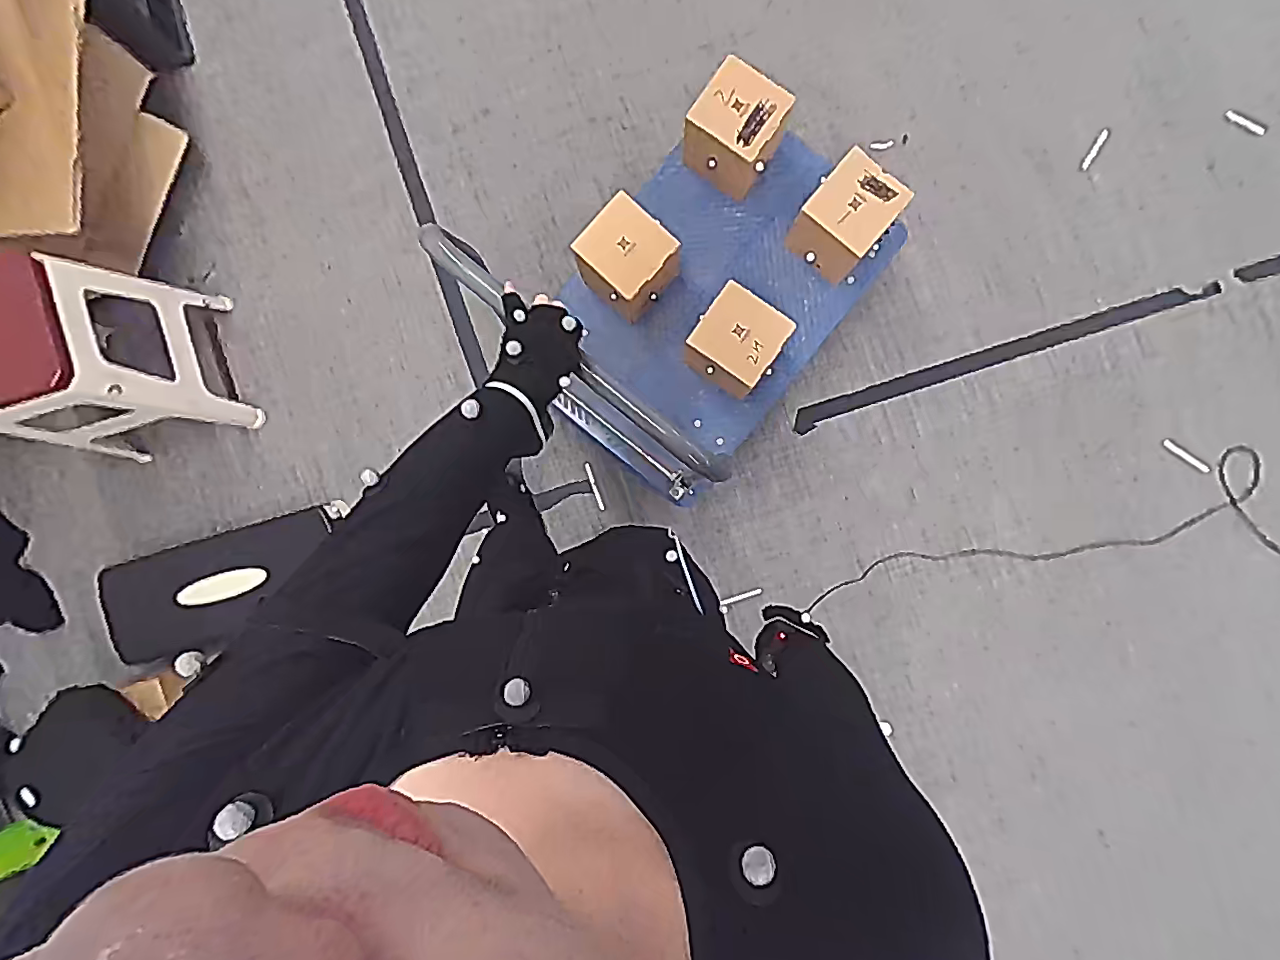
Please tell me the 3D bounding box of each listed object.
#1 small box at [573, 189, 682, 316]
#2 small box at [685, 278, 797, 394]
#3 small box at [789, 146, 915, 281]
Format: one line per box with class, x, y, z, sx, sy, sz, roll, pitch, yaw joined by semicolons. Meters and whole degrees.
small box;-0.028;-0.502;1.224;0.179;0.176;0.168;42;91;0
small box;0.216;-0.312;1.216;0.179;0.176;0.168;36;91;1
small box;0.460;-0.584;1.209;0.168;0.176;0.179;41;92;1
